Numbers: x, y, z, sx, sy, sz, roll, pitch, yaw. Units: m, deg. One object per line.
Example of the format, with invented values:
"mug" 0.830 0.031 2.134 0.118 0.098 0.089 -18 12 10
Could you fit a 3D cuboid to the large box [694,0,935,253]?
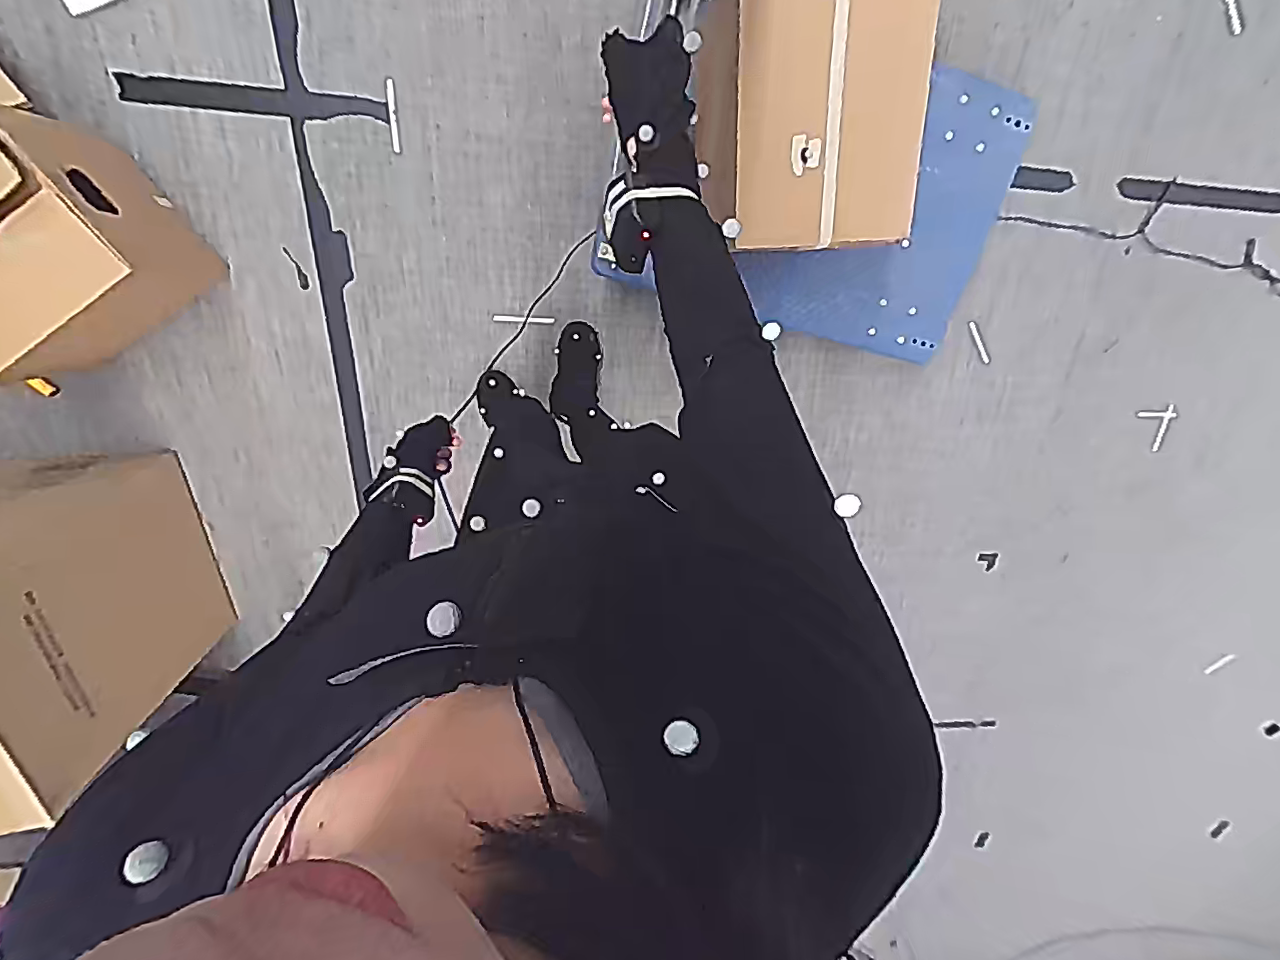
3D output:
"large box" 0.285 -0.644 0.991 0.320 0.320 0.408 -5 113 -5
